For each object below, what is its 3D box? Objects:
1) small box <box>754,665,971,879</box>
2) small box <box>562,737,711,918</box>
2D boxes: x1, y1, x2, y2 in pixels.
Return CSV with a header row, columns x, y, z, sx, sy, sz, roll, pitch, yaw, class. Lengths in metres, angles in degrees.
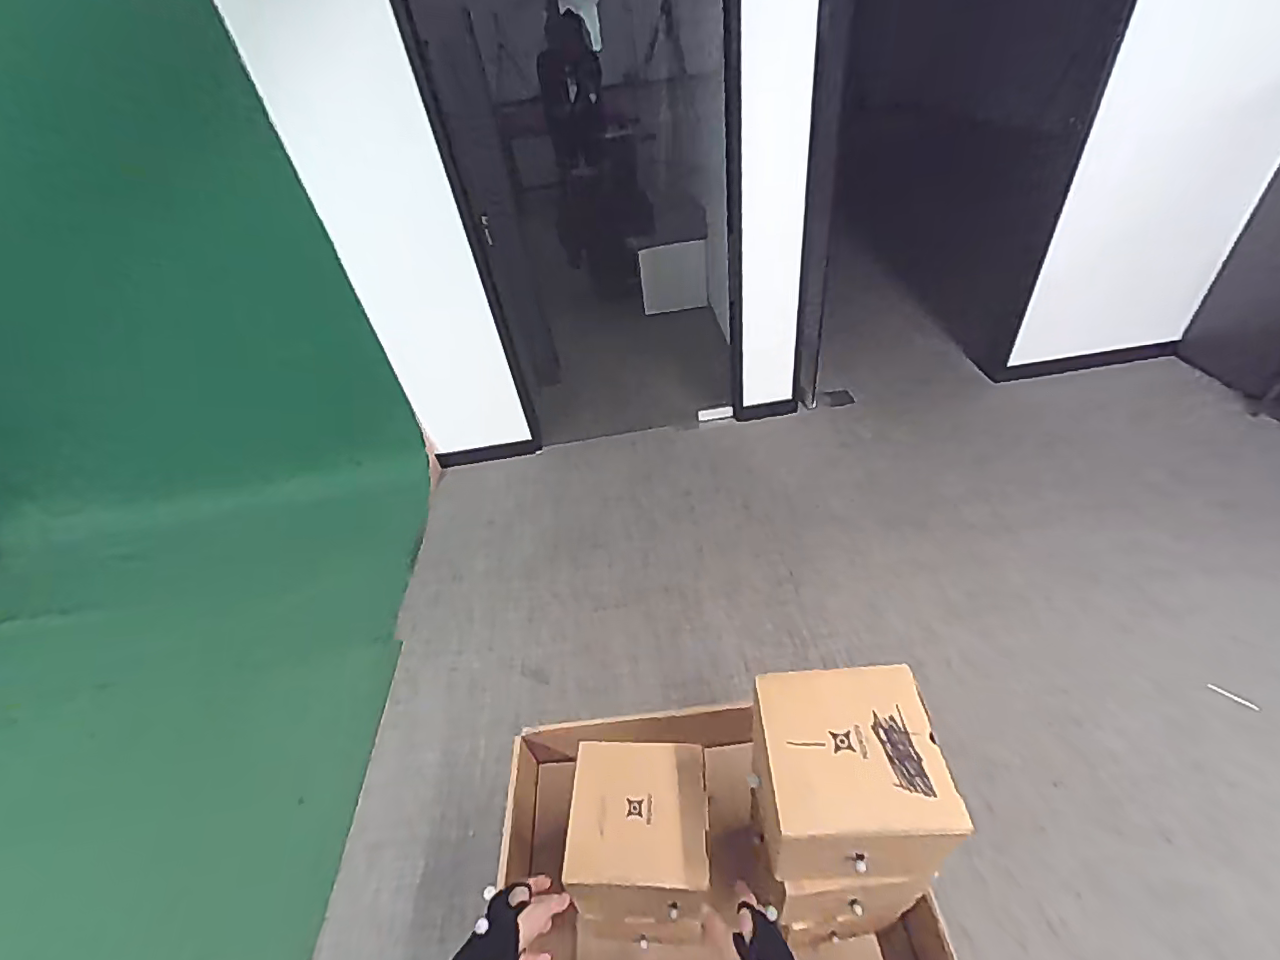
x,y,z,sx,sy,sz,roll,pitch,yaw,class
0.226,0.328,0.607,0.179,0.176,0.168,-6,41,6,small box
0.005,0.473,0.736,0.179,0.176,0.168,-1,40,6,small box
